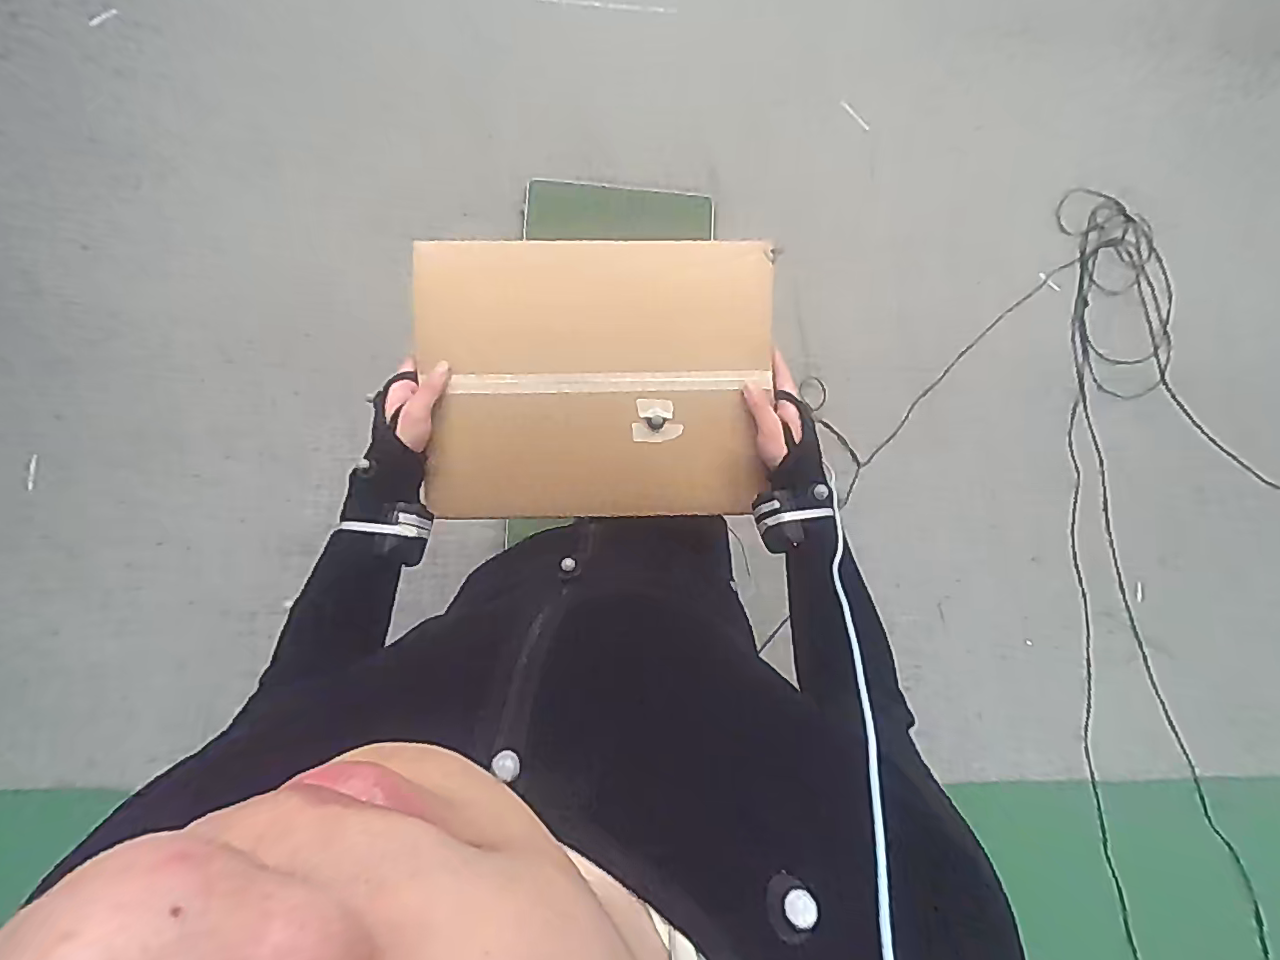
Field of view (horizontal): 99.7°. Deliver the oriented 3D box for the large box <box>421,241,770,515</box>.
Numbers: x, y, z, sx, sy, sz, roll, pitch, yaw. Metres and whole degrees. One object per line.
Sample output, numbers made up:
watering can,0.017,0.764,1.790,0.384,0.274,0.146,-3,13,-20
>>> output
large box,-0.055,-0.129,0.778,0.408,0.320,0.320,-1,95,-3
